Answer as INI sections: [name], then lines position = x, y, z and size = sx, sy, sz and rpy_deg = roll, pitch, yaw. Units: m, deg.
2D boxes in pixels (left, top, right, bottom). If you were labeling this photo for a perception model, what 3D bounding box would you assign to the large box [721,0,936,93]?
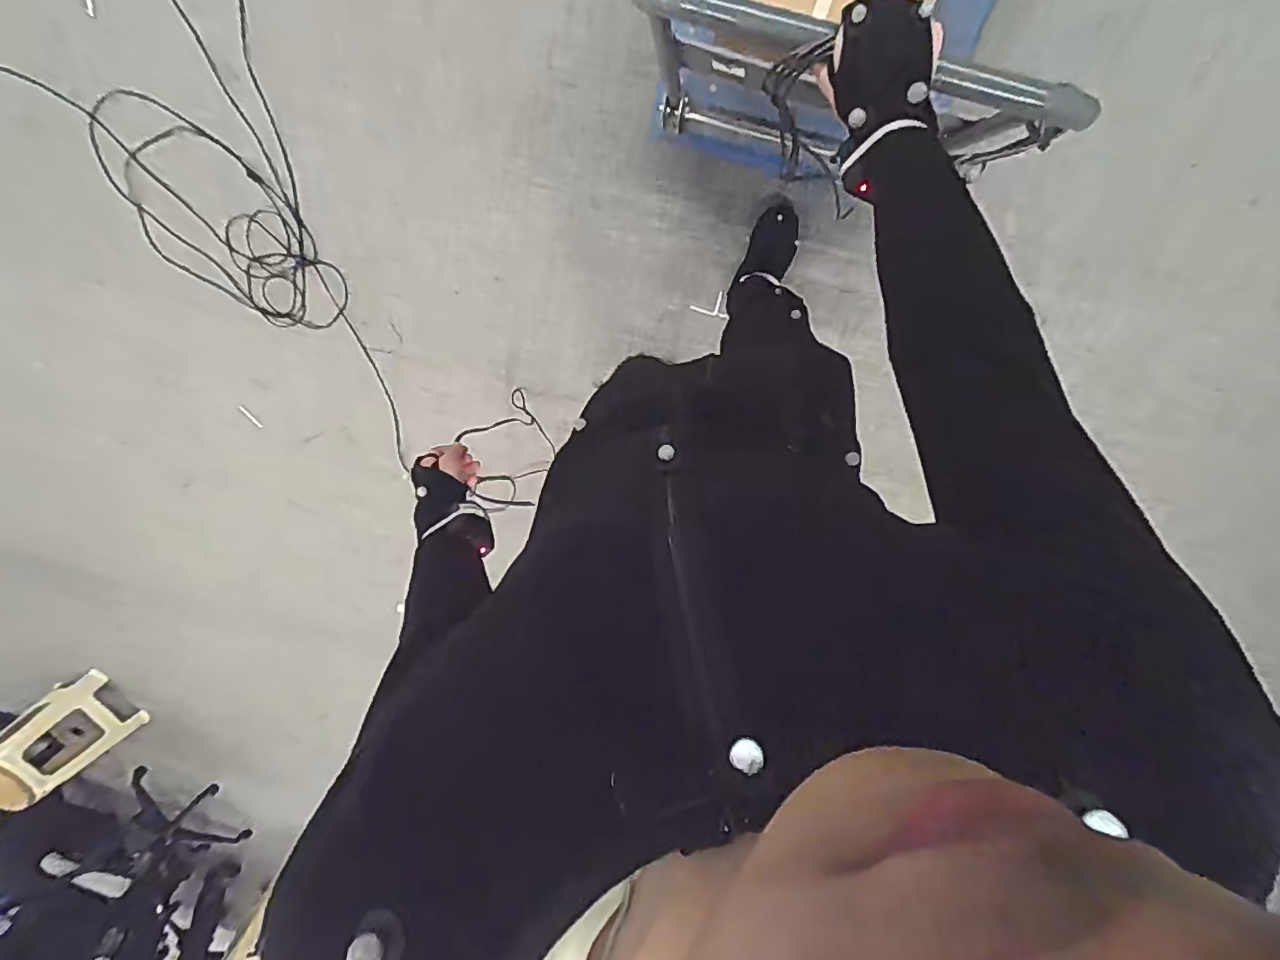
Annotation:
[large box]
position = 0.332, -0.908, 0.843
size = 0.320, 0.320, 0.408
rpy_deg = 18, 116, -1
